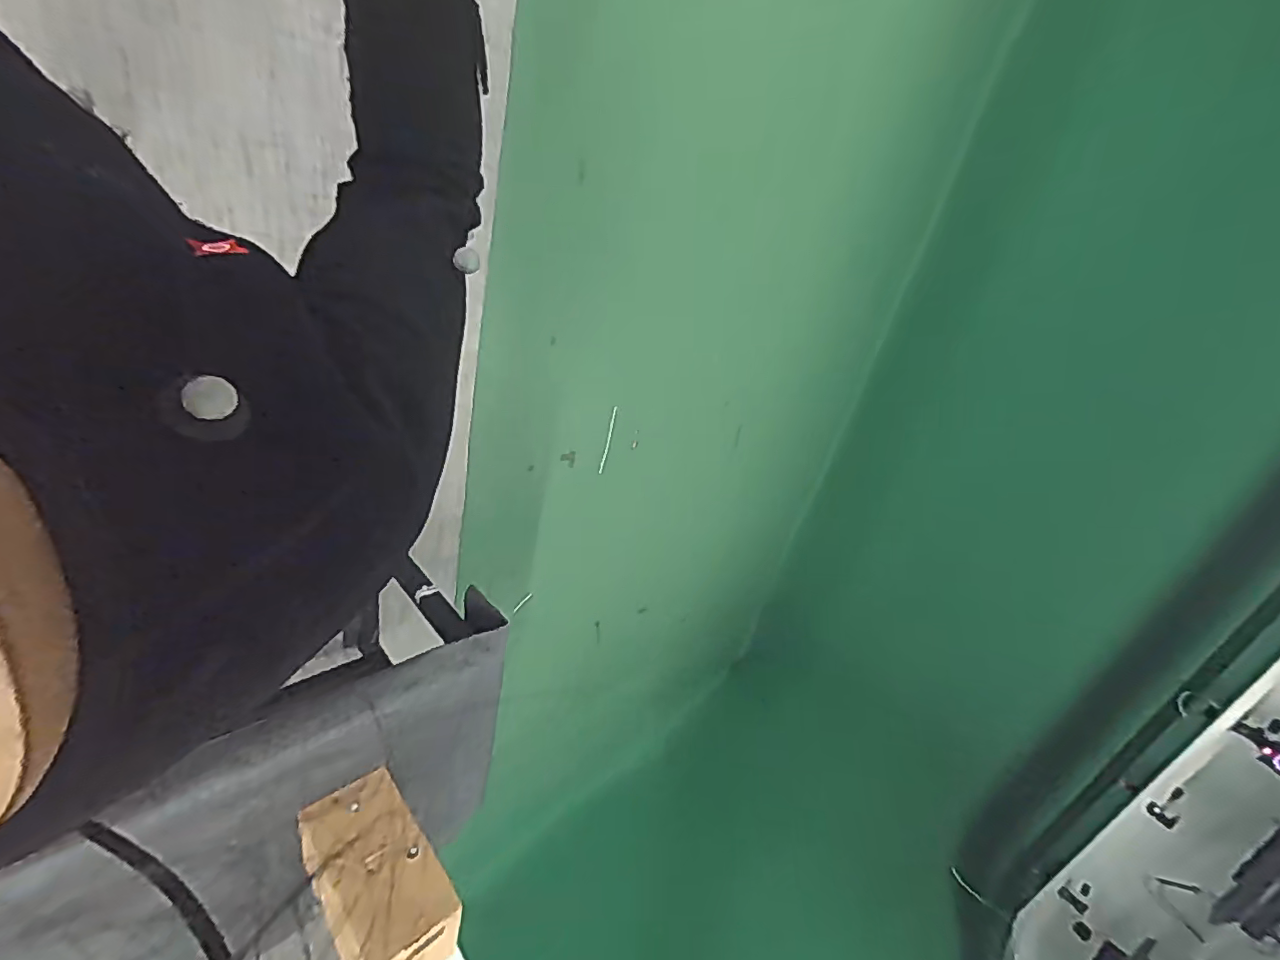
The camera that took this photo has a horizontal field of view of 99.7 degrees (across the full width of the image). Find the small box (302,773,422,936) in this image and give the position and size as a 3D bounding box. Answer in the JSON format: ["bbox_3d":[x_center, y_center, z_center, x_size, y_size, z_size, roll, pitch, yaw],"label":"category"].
[{"bbox_3d":[-0.560,0.741,1.088,0.168,0.176,0.179,-15,128,-45],"label":"small box"}]

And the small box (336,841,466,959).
[{"bbox_3d":[-0.445,0.818,0.999,0.168,0.176,0.179,-13,128,-45],"label":"small box"}]
